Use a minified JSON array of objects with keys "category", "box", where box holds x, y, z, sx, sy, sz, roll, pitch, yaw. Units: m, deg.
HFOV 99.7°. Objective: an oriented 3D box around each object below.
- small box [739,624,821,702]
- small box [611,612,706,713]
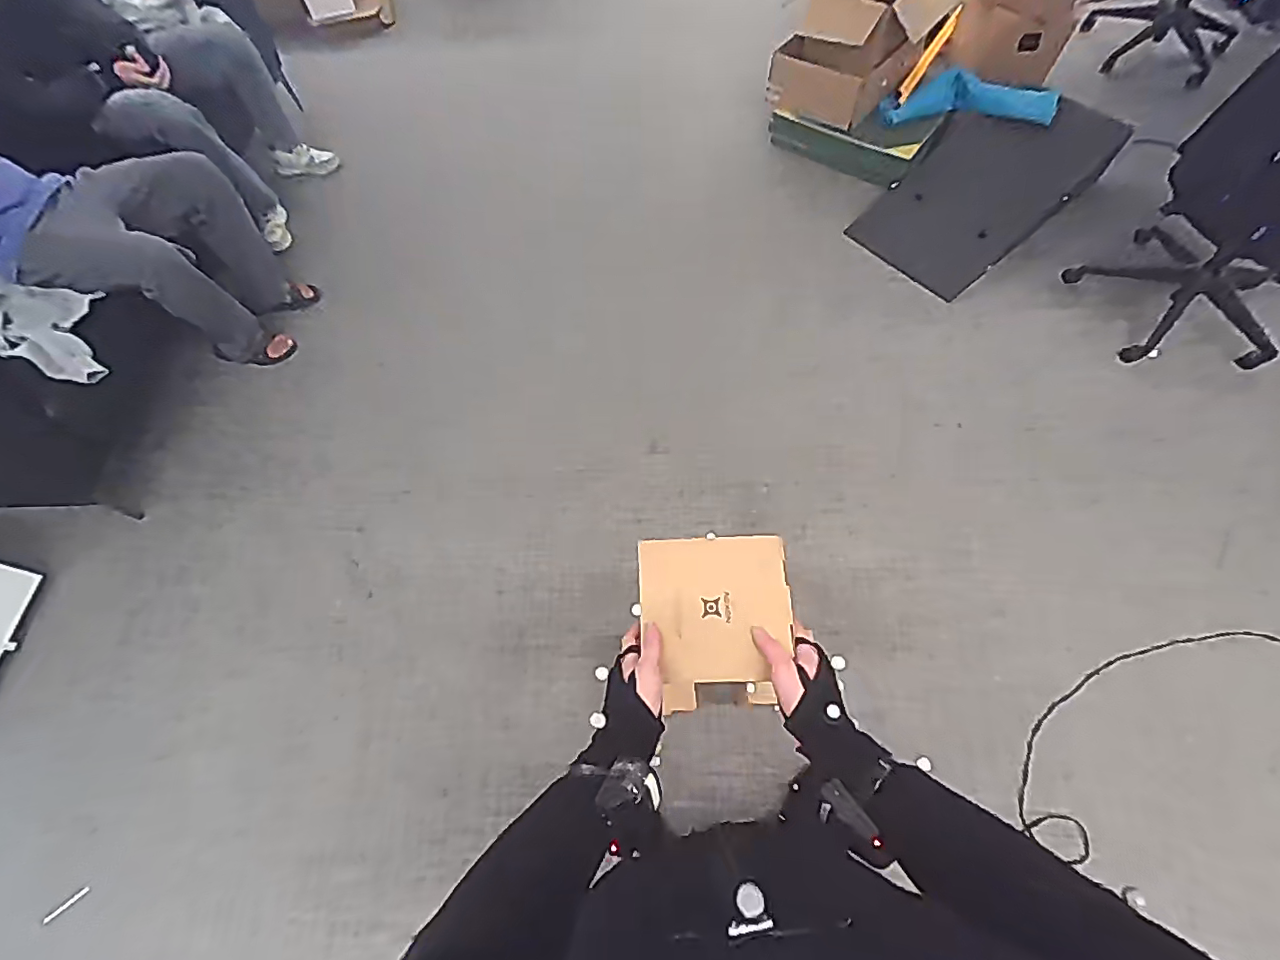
[{"category":"small box","box":[0.340,0.461,1.351,0.179,0.176,0.168,1,66,5]},{"category":"small box","box":[0.053,0.466,1.362,0.179,0.176,0.168,-33,64,-10]}]
